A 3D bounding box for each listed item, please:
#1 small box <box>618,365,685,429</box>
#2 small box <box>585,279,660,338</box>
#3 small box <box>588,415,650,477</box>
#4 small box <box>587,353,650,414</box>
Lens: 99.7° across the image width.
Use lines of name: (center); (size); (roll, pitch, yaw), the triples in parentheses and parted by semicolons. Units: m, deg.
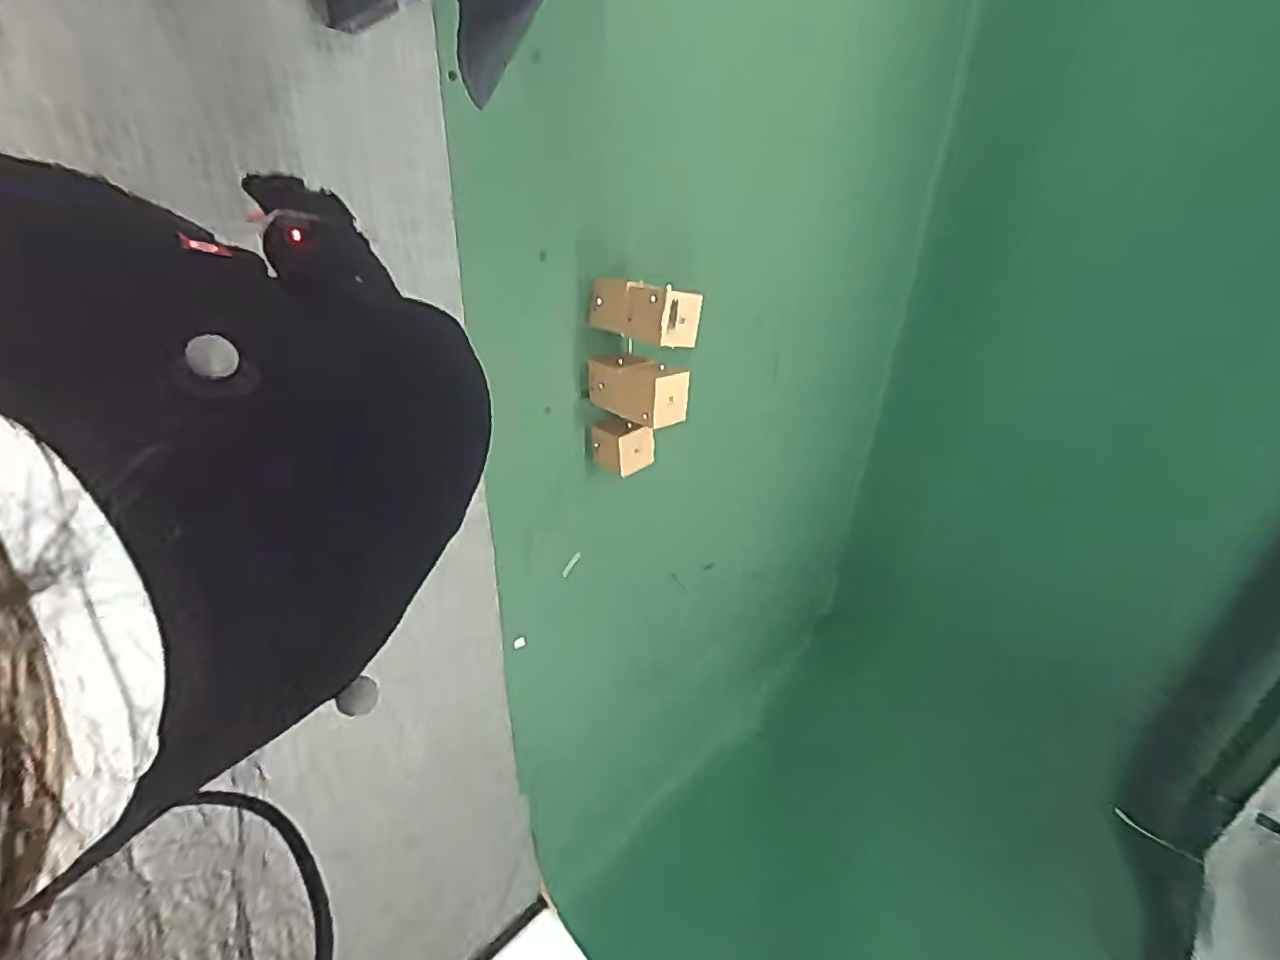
small box: (0.036, -0.295, 1.868); (0.168, 0.176, 0.179); (-22, 125, -40)
small box: (-0.062, -0.591, 1.861); (0.179, 0.176, 0.168); (-9, 116, -44)
small box: (-0.079, -0.138, 2.084); (0.179, 0.176, 0.168); (-28, 128, -36)
small box: (-0.081, -0.355, 1.964); (0.179, 0.176, 0.168); (-25, 127, -39)
